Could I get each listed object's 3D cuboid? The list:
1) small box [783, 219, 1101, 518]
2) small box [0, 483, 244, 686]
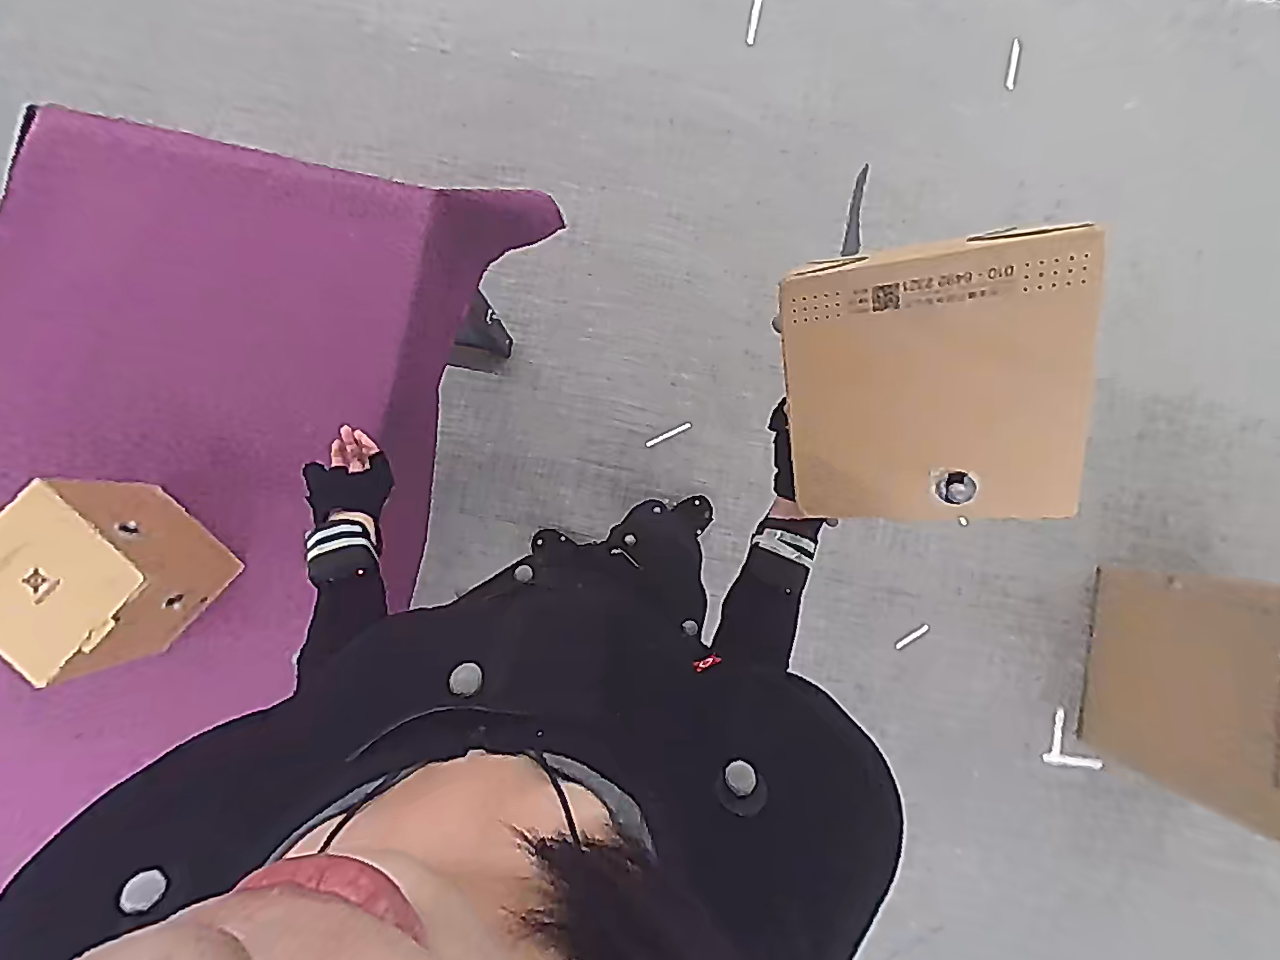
[{"bbox_3d":[0.203,-0.086,0.396,0.168,0.179,0.176,-1,113,24],"label":"small box"},{"bbox_3d":[-0.673,0.122,0.693,0.179,0.176,0.168,42,86,2],"label":"small box"}]
